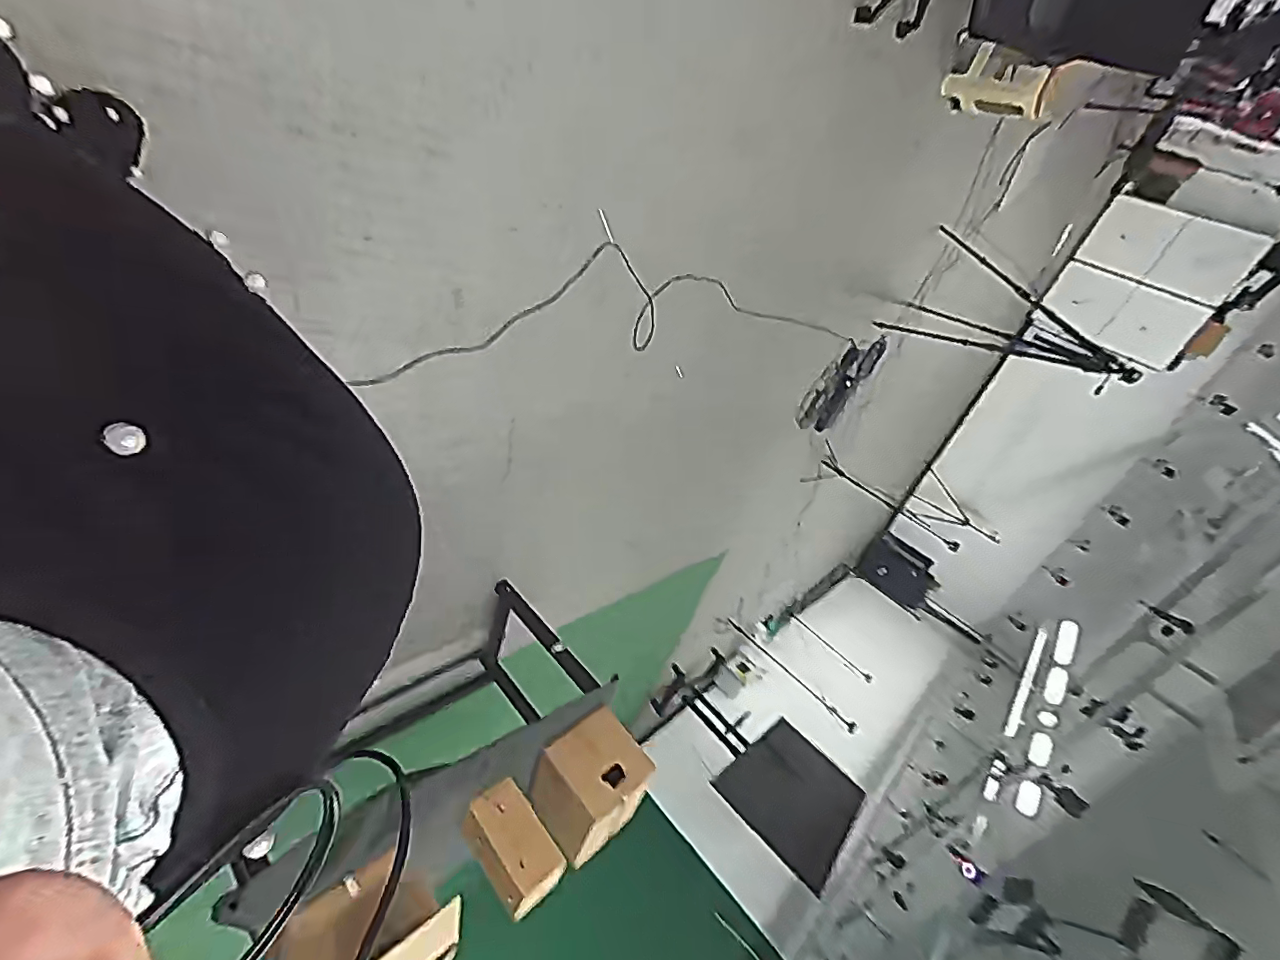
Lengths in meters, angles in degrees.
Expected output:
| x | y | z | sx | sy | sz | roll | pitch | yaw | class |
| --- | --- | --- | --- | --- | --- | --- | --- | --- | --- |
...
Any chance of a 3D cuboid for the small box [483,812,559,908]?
| x | y | z | sx | sy | sz | roll | pitch | yaw | class |
| --- | --- | --- | --- | --- | --- | --- | --- | --- | --- |
| -0.397 | 1.239 | 1.778 | 0.168 | 0.176 | 0.179 | -16 | 138 | -45 | small box |
